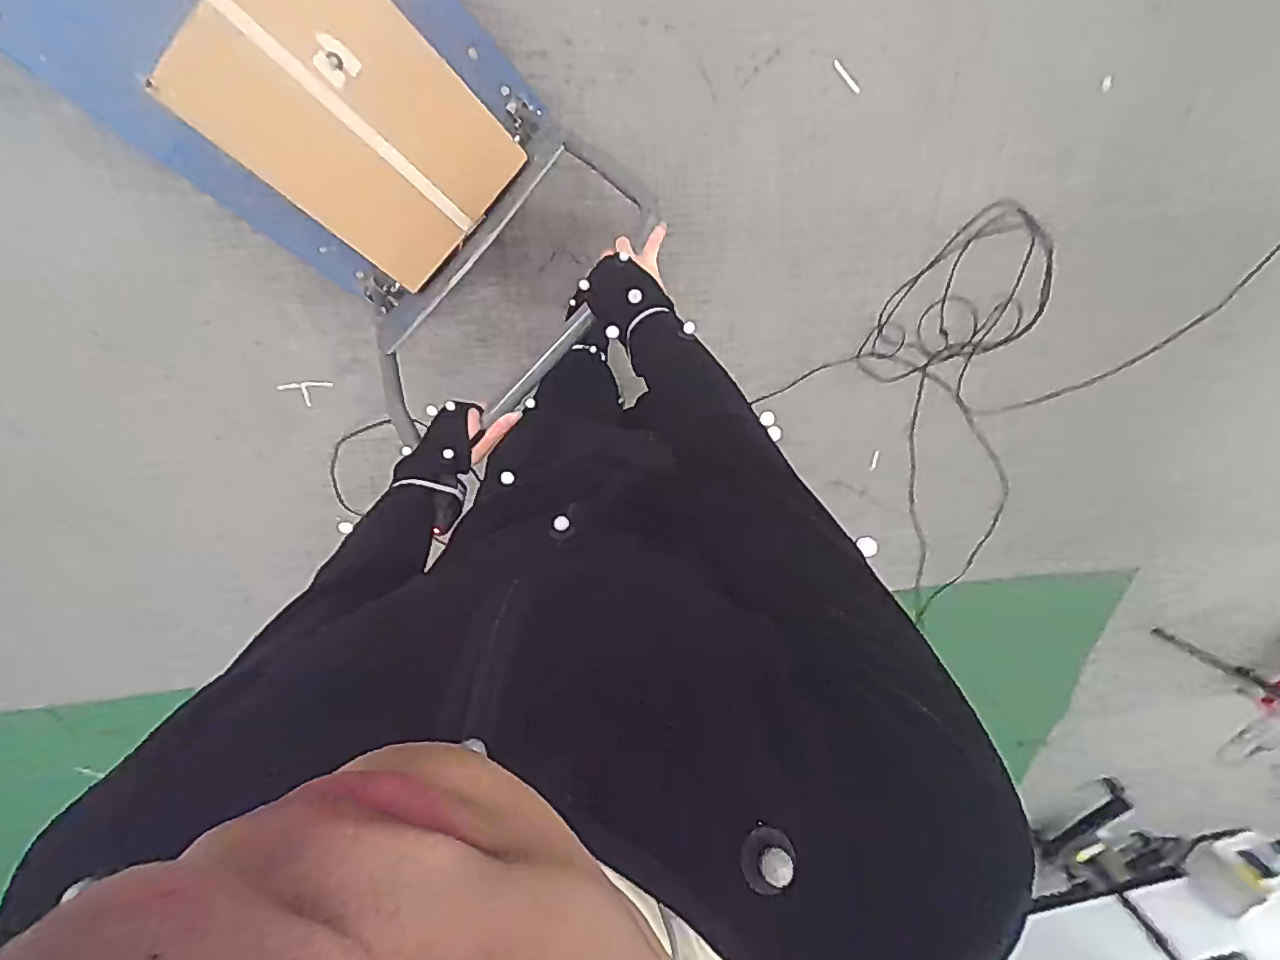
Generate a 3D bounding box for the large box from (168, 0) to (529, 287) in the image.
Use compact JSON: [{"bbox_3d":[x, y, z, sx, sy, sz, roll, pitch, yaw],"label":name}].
[{"bbox_3d":[-0.464,-0.625,0.940,0.320,0.320,0.408,-43,131,12],"label":"large box"}]
